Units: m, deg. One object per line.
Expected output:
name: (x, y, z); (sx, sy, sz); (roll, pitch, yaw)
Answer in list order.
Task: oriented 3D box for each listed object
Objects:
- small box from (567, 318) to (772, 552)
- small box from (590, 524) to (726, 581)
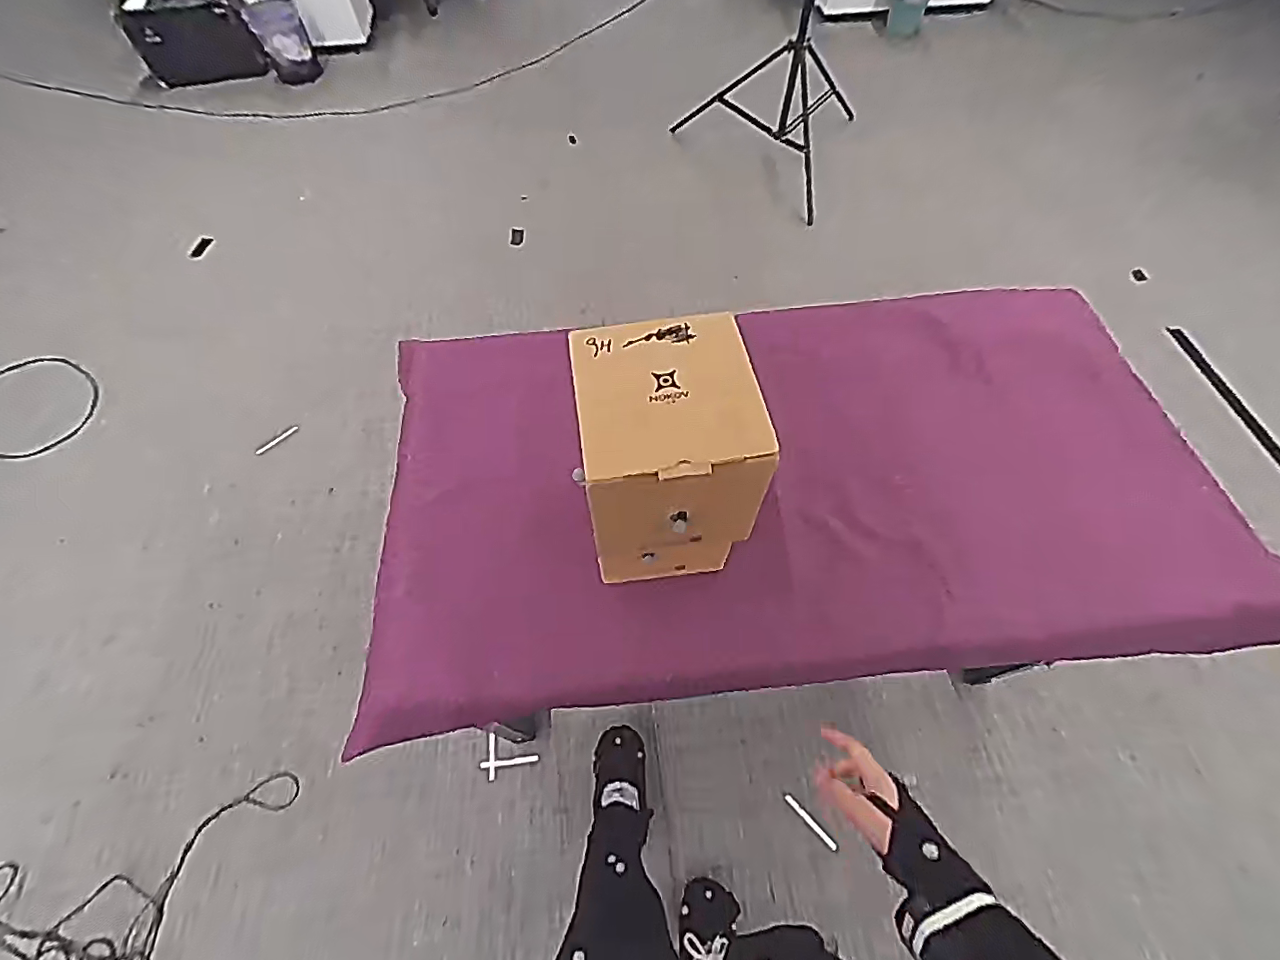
small box: (0.022, -0.035, 0.558); (0.168, 0.176, 0.179); (-8, 61, -4)
small box: (0.020, 0.024, 0.713); (0.168, 0.176, 0.179); (-7, 60, -3)
